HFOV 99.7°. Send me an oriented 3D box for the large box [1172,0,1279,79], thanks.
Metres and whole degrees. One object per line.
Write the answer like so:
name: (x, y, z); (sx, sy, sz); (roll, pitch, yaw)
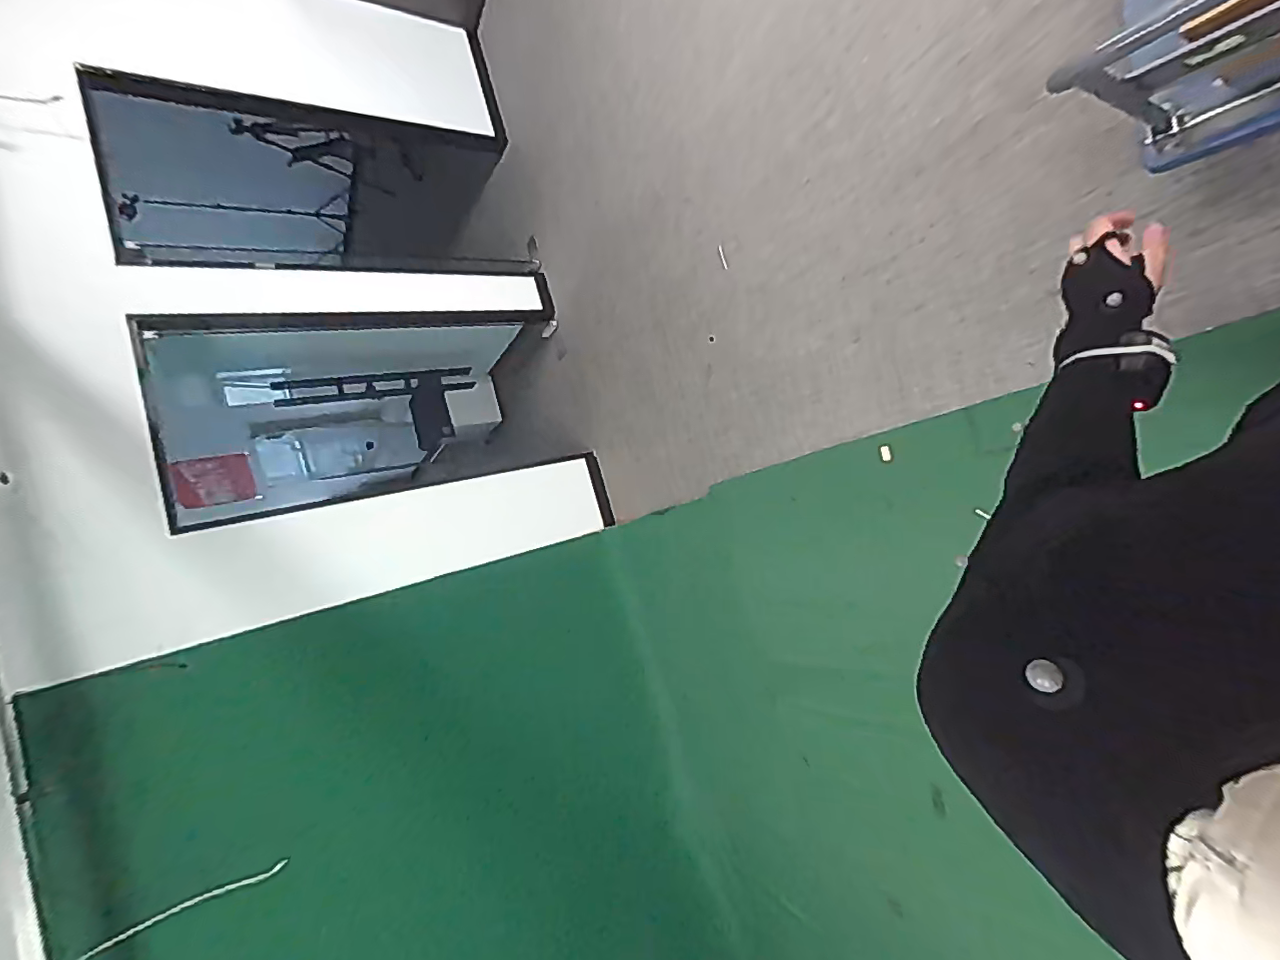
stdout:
large box: (0.969, -0.885, 0.746); (0.320, 0.320, 0.408); (-4, 96, 55)
